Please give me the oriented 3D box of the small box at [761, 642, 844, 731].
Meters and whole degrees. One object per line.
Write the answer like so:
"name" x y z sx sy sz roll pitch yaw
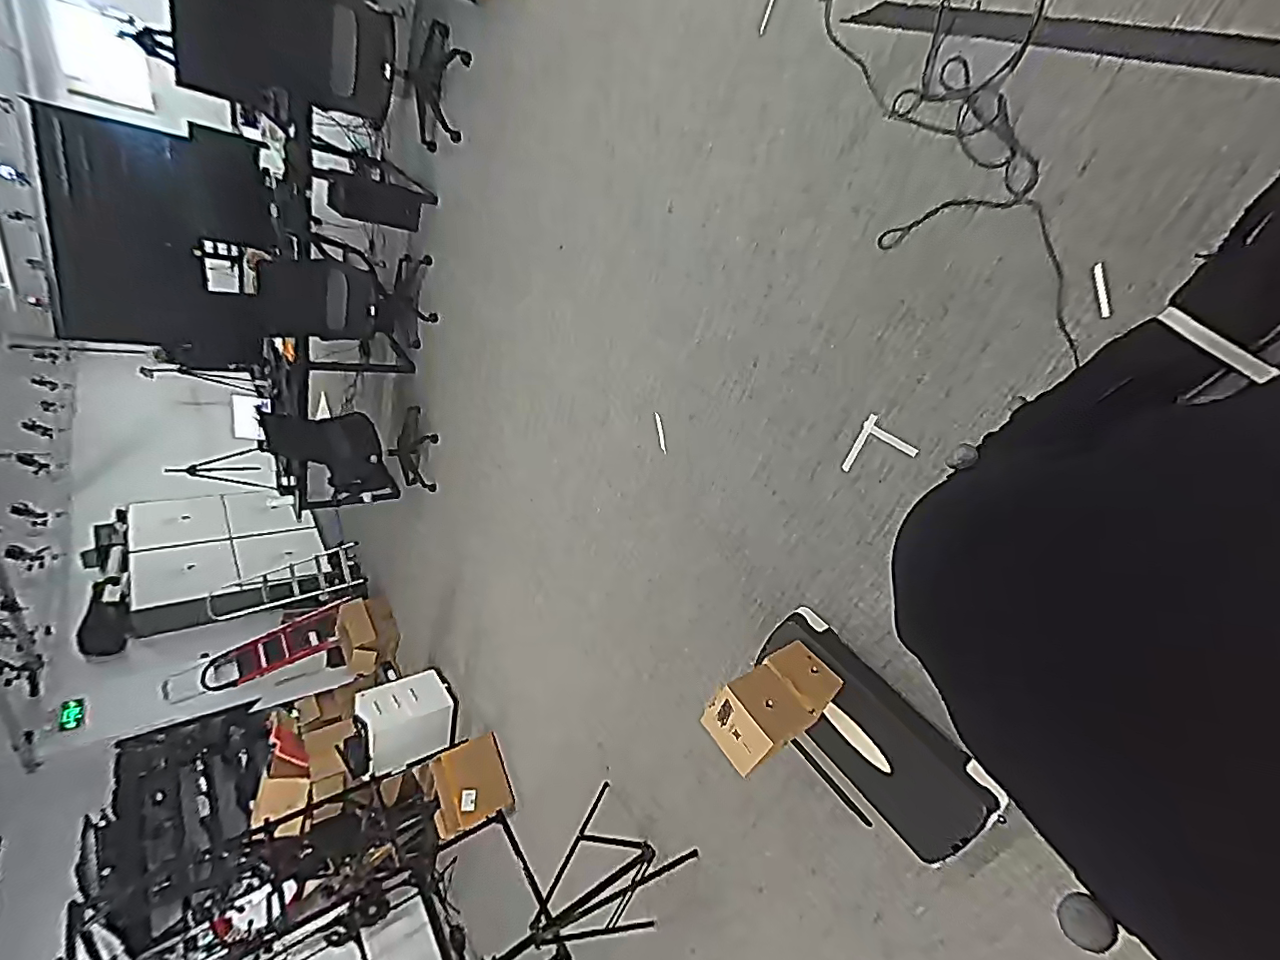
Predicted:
"small box" 0.435 0.587 1.509 0.168 0.176 0.179 42 125 37

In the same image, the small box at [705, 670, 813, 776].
"small box" 0.309 0.619 1.407 0.179 0.176 0.168 47 128 33
